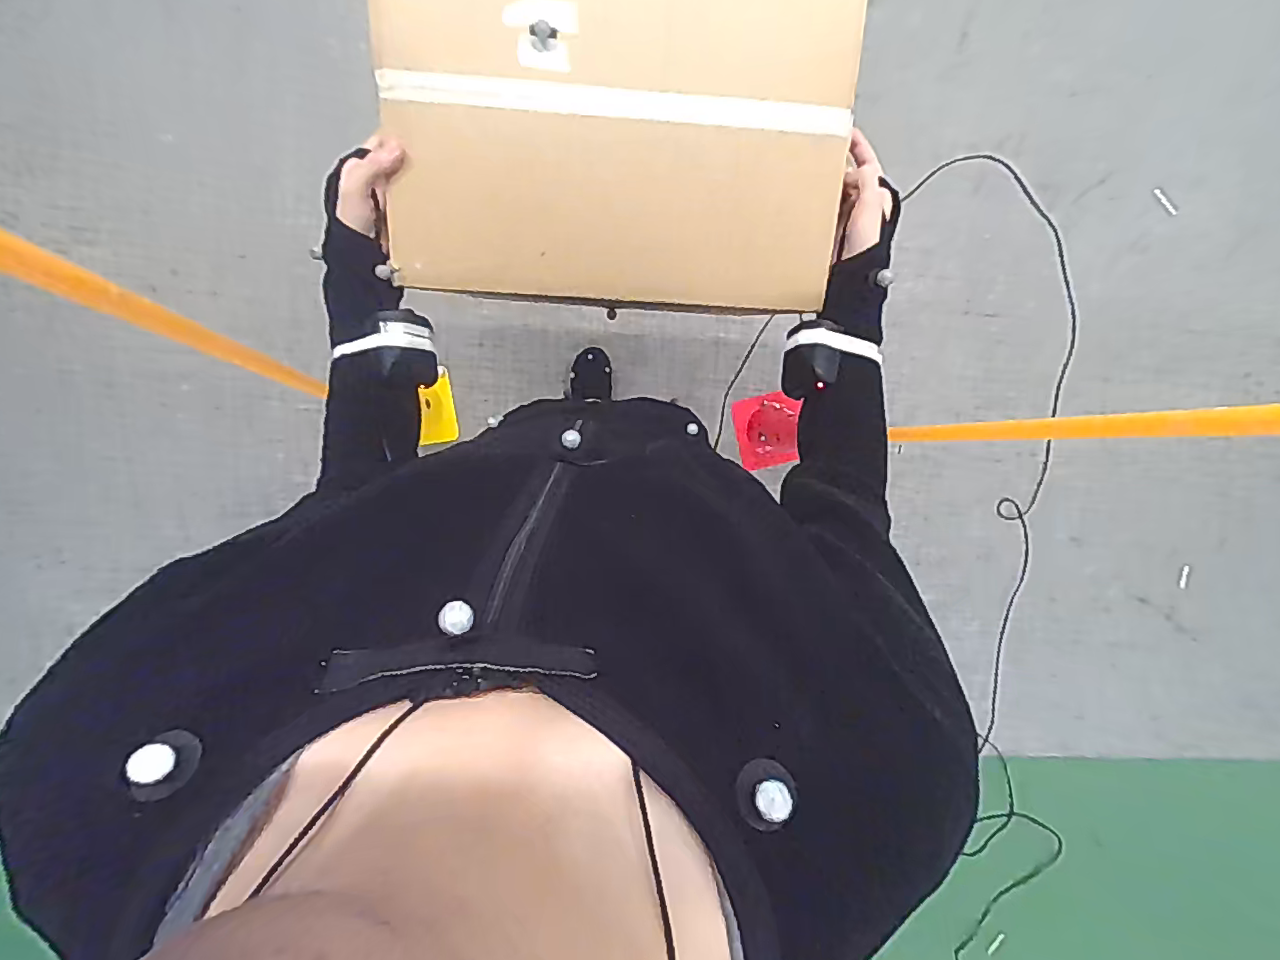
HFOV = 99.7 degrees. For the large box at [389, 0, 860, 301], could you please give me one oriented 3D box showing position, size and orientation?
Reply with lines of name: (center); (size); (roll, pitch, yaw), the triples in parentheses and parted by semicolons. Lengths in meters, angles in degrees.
large box: (-0.019, -0.374, 0.617); (0.408, 0.320, 0.320); (3, 106, -4)
